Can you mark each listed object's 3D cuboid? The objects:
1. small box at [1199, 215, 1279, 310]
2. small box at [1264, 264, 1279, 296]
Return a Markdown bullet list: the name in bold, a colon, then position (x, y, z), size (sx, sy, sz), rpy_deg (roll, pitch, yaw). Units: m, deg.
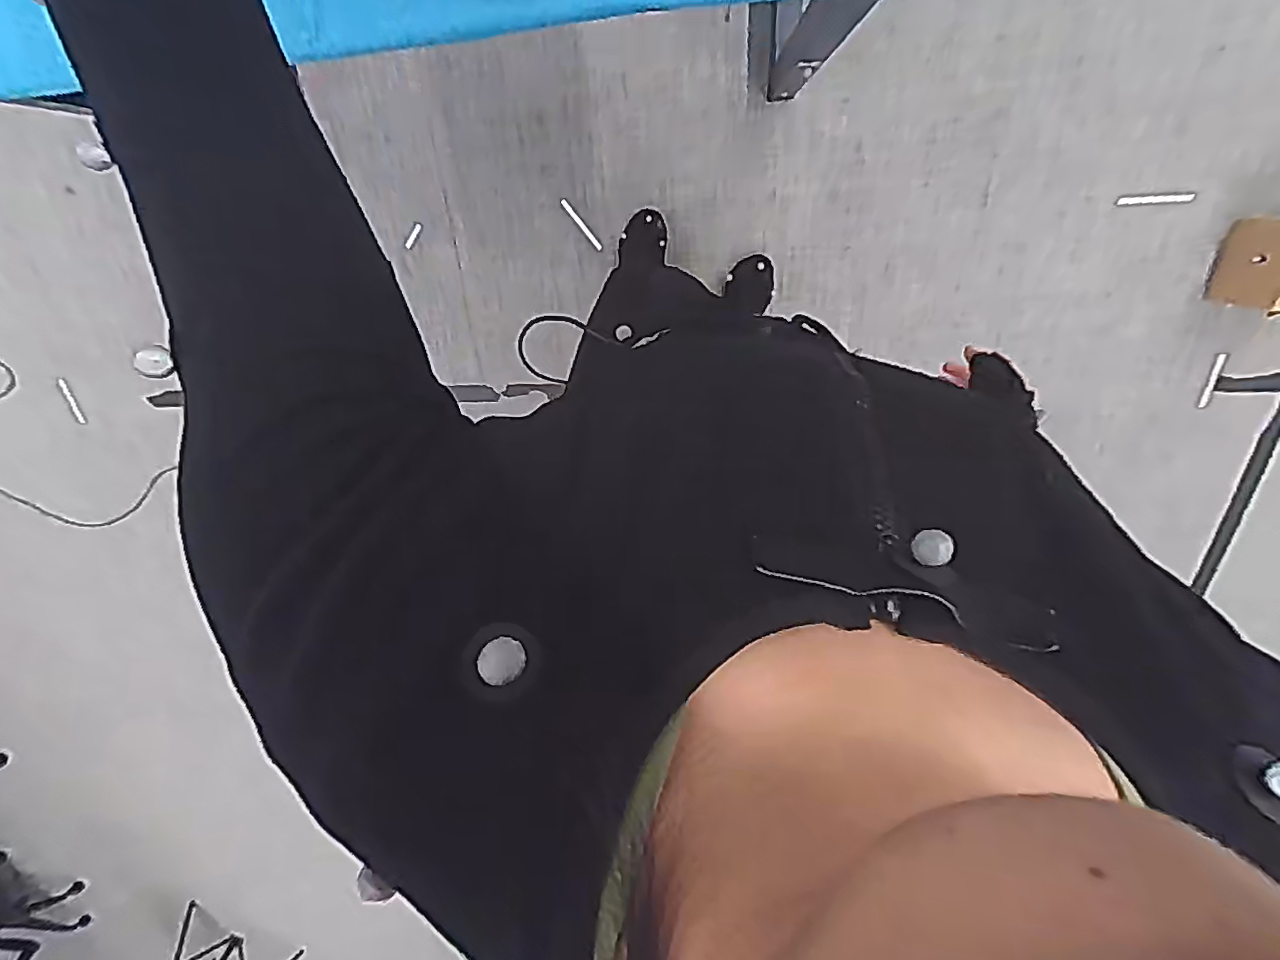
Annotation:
- **small box**: position (1.373, -0.468, 1.155), size (0.168, 0.176, 0.179), rpy_deg (1, 116, 4)
- **small box**: position (1.373, -0.392, 1.005), size (0.168, 0.176, 0.179), rpy_deg (32, 114, -12)
